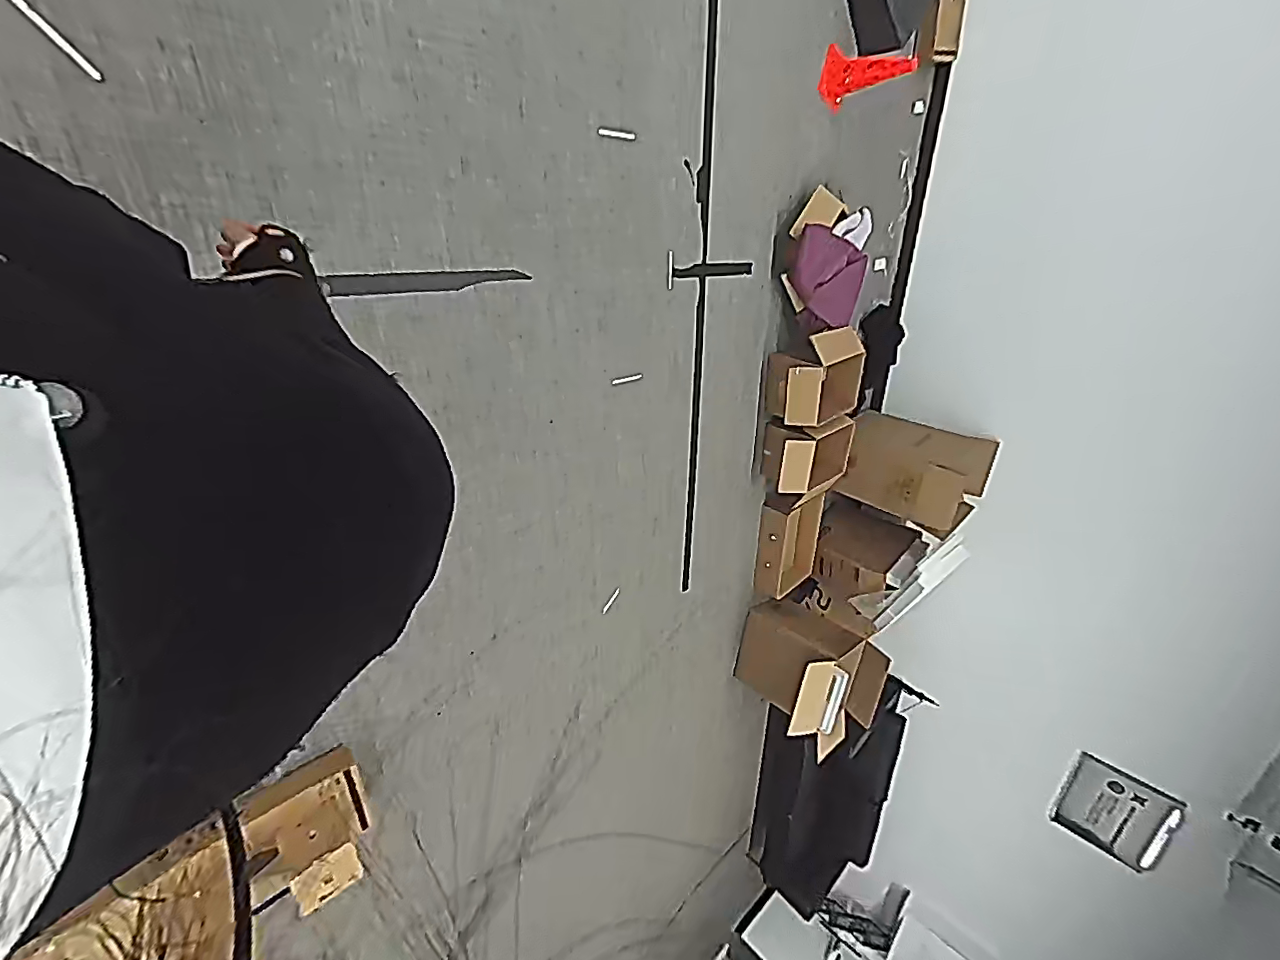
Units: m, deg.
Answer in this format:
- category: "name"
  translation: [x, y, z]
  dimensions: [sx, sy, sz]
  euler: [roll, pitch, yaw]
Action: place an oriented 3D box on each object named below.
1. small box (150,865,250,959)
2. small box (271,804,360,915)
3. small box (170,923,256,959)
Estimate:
- category: "small box"
  translation: [-1.137, 1.160, 1.401]
  dimensions: [0.168, 0.176, 0.179]
  euler: [-18, 121, -41]
- category: "small box"
  translation: [-0.942, 1.085, 1.569]
  dimensions: [0.168, 0.176, 0.179]
  euler: [-20, 122, -40]
- category: "small box"
  translation: [-1.028, 1.229, 1.297]
  dimensions: [0.168, 0.176, 0.179]
  euler: [-23, 125, -39]
